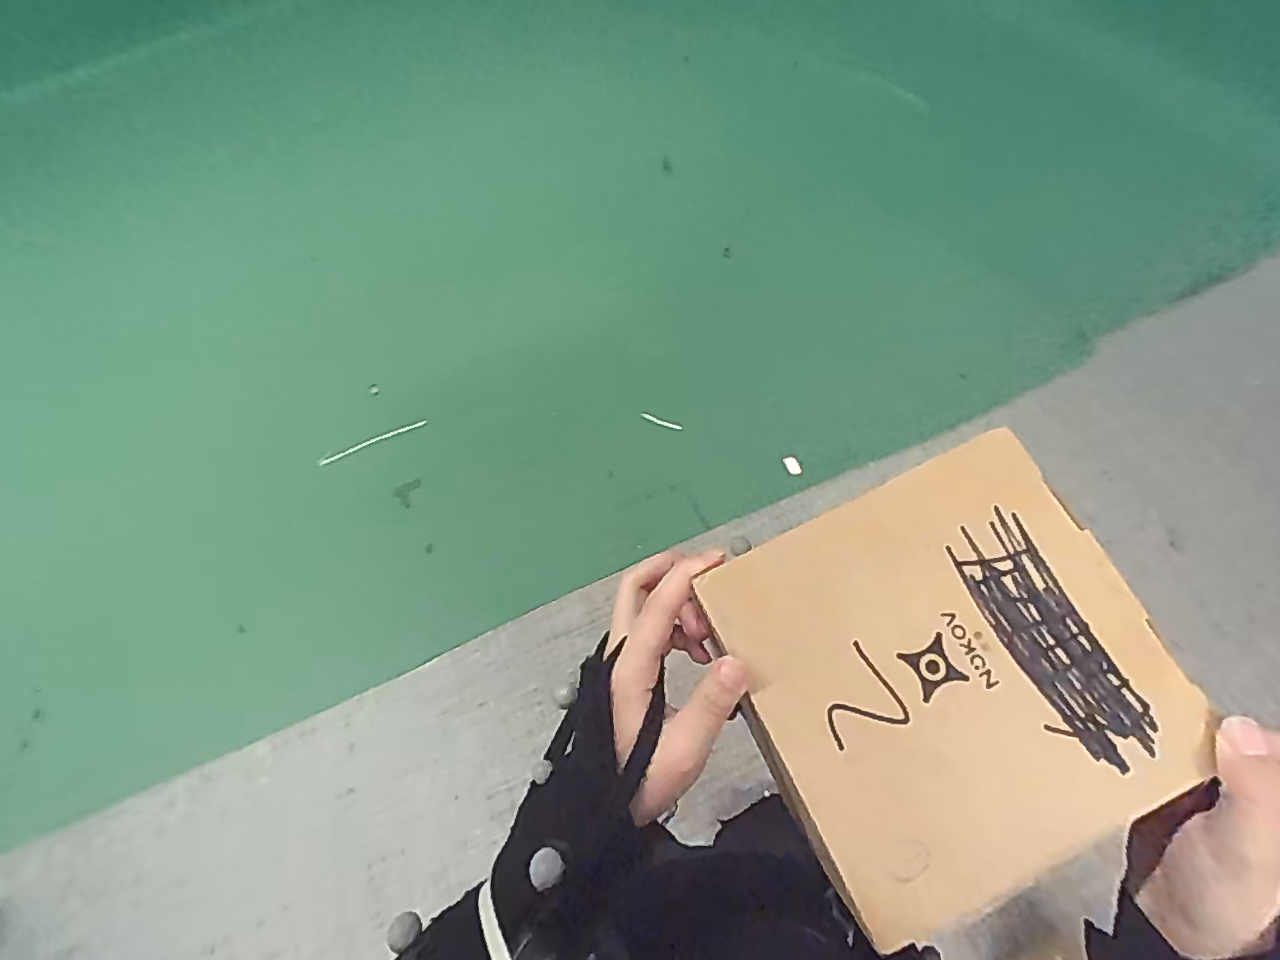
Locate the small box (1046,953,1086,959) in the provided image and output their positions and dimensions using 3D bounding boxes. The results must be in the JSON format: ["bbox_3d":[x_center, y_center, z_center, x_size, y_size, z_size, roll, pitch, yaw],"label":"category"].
[{"bbox_3d":[0.732,0.915,0.870,0.168,0.176,0.179,-26,67,-7],"label":"small box"}]
